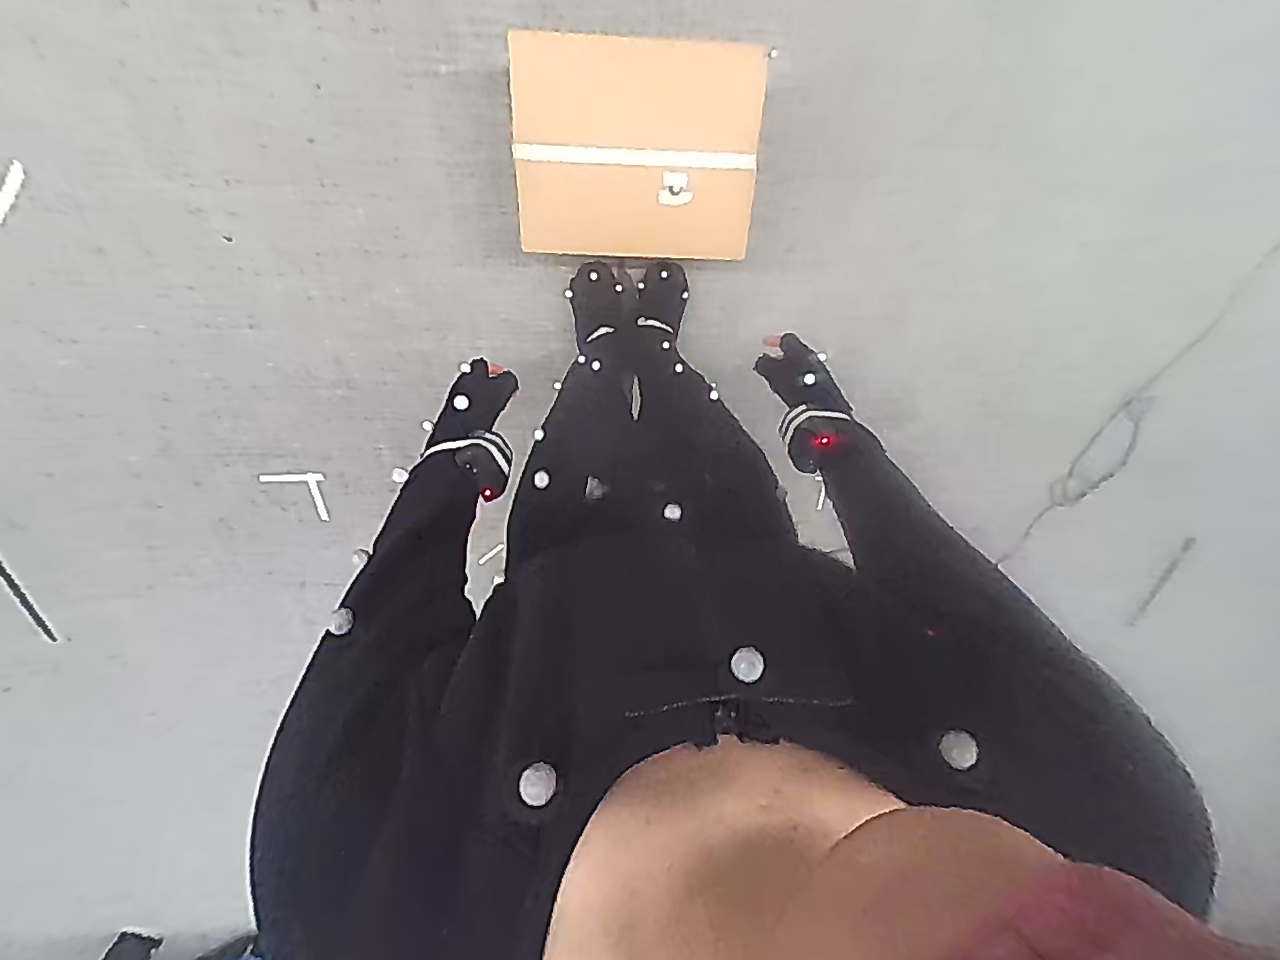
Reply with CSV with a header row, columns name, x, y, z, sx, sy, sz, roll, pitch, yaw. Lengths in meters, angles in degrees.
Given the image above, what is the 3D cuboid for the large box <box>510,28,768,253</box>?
name,x,y,z,sx,sy,sz,roll,pitch,yaw
large box,-0.012,-0.619,1.026,0.408,0.320,0.320,0,121,-4
